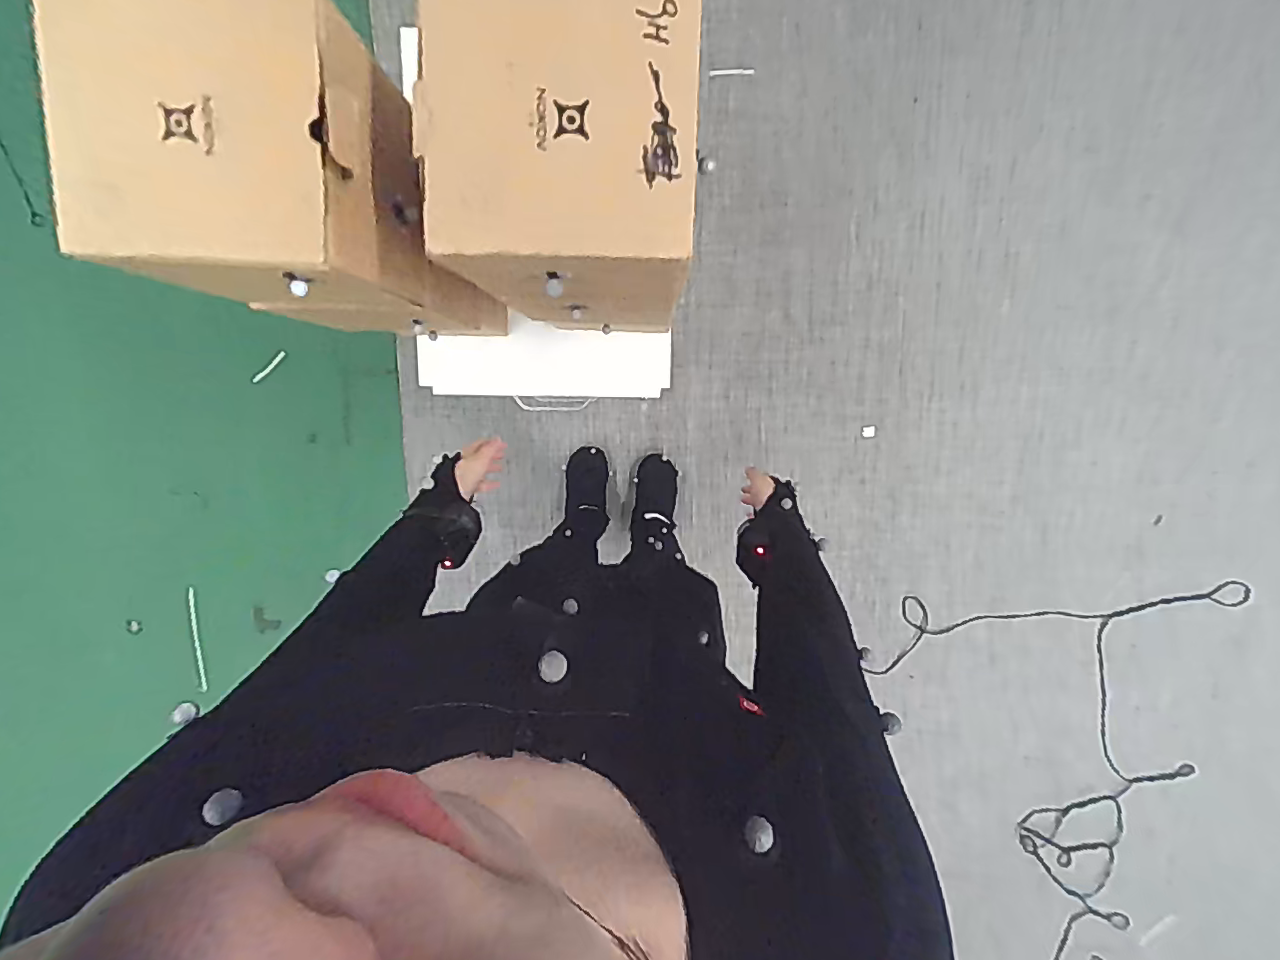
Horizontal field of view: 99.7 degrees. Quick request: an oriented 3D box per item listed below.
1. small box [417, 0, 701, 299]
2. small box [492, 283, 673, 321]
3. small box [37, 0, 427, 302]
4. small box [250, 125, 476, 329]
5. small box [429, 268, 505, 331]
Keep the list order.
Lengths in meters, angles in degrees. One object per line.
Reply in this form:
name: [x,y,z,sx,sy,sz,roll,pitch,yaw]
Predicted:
small box: [-0.047,-0.238,0.414,0.179,0.176,0.168,2,100,2]
small box: [-0.048,-0.266,0.576,0.179,0.176,0.168,3,99,0]
small box: [-0.283,-0.237,0.417,0.179,0.176,0.168,2,99,-2]
small box: [-0.282,-0.258,0.579,0.179,0.176,0.168,0,98,0]
small box: [-0.284,-0.300,0.737,0.168,0.176,0.179,0,99,-2]
